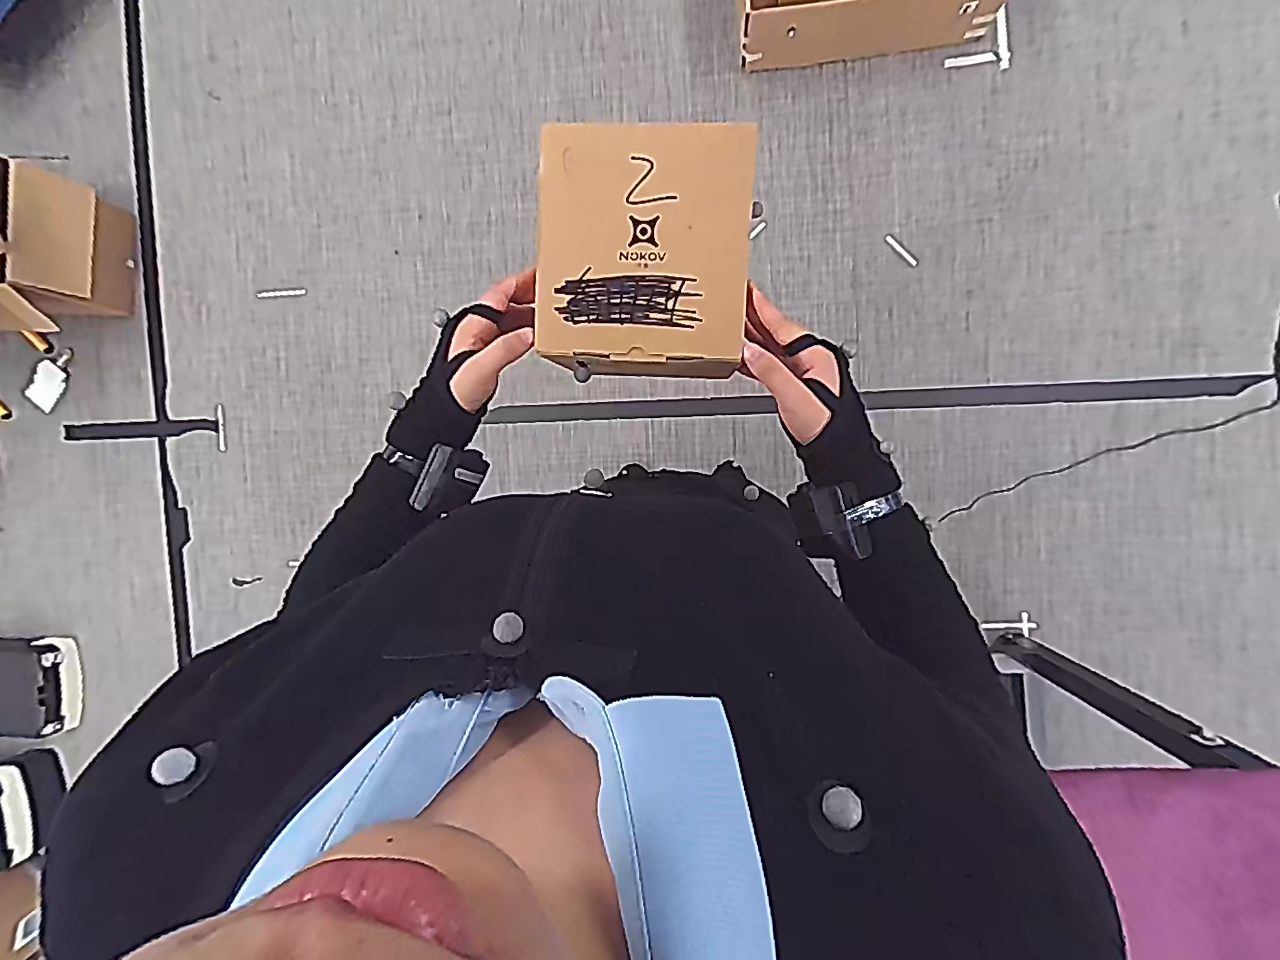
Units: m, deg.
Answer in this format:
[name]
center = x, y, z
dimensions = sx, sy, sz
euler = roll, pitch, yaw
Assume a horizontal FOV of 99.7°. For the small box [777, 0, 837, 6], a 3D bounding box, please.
[small box]
center = 0.417, -1.283, 1.290
dimensions = 0.168, 0.176, 0.179
euler = -5, 92, 4
